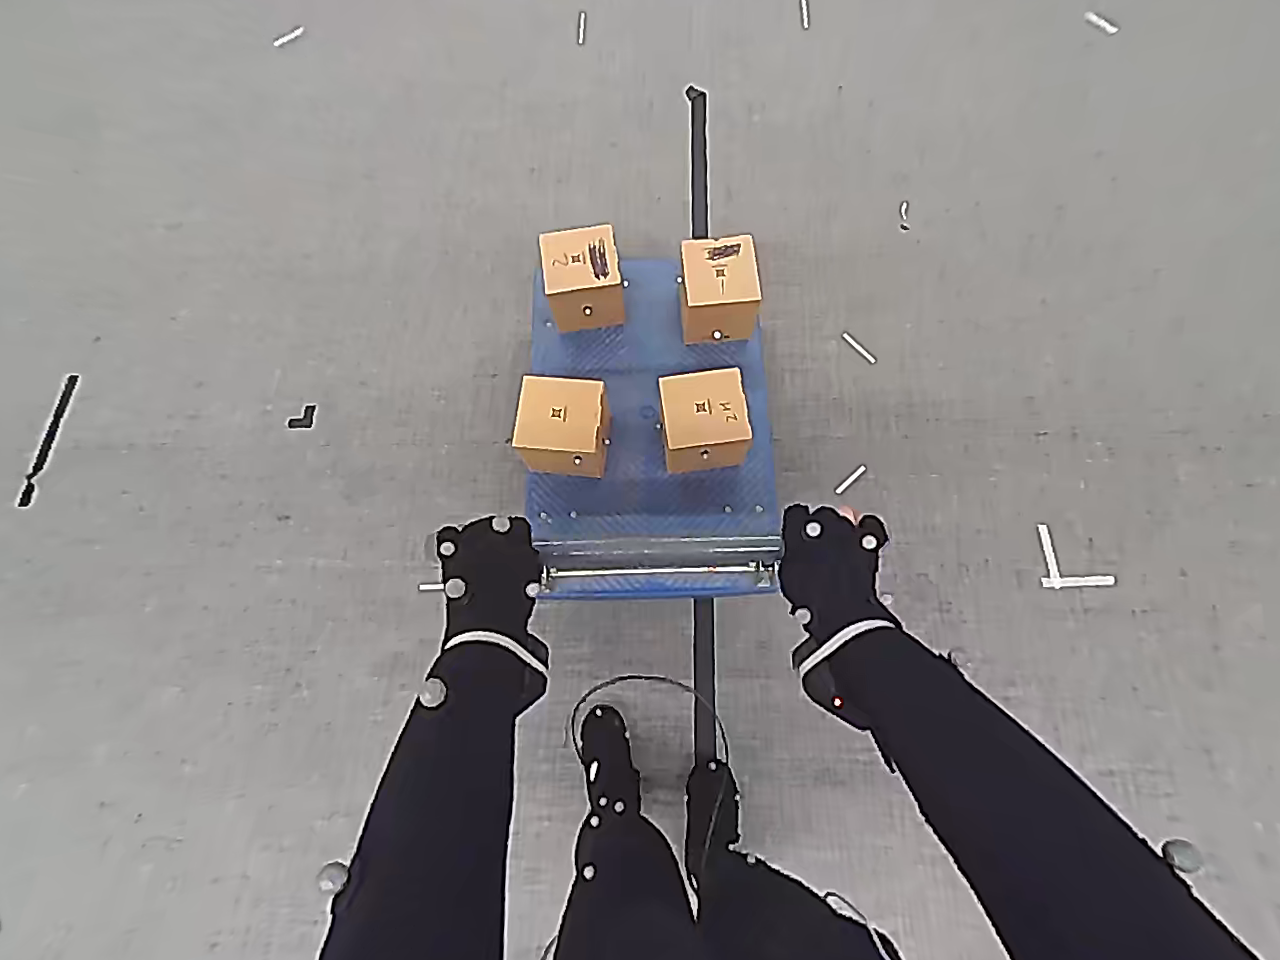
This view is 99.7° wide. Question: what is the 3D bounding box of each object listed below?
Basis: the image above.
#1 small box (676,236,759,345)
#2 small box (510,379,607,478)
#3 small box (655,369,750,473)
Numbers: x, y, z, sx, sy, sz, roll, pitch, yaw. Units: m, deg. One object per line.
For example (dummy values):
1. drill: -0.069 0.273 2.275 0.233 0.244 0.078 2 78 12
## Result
1. small box: 0.176 -0.445 1.283 0.168 0.176 0.179 -5 74 1
2. small box: -0.172 -0.108 1.197 0.179 0.176 0.168 4 73 2
3. small box: 0.132 -0.122 1.188 0.179 0.176 0.168 -8 73 0
